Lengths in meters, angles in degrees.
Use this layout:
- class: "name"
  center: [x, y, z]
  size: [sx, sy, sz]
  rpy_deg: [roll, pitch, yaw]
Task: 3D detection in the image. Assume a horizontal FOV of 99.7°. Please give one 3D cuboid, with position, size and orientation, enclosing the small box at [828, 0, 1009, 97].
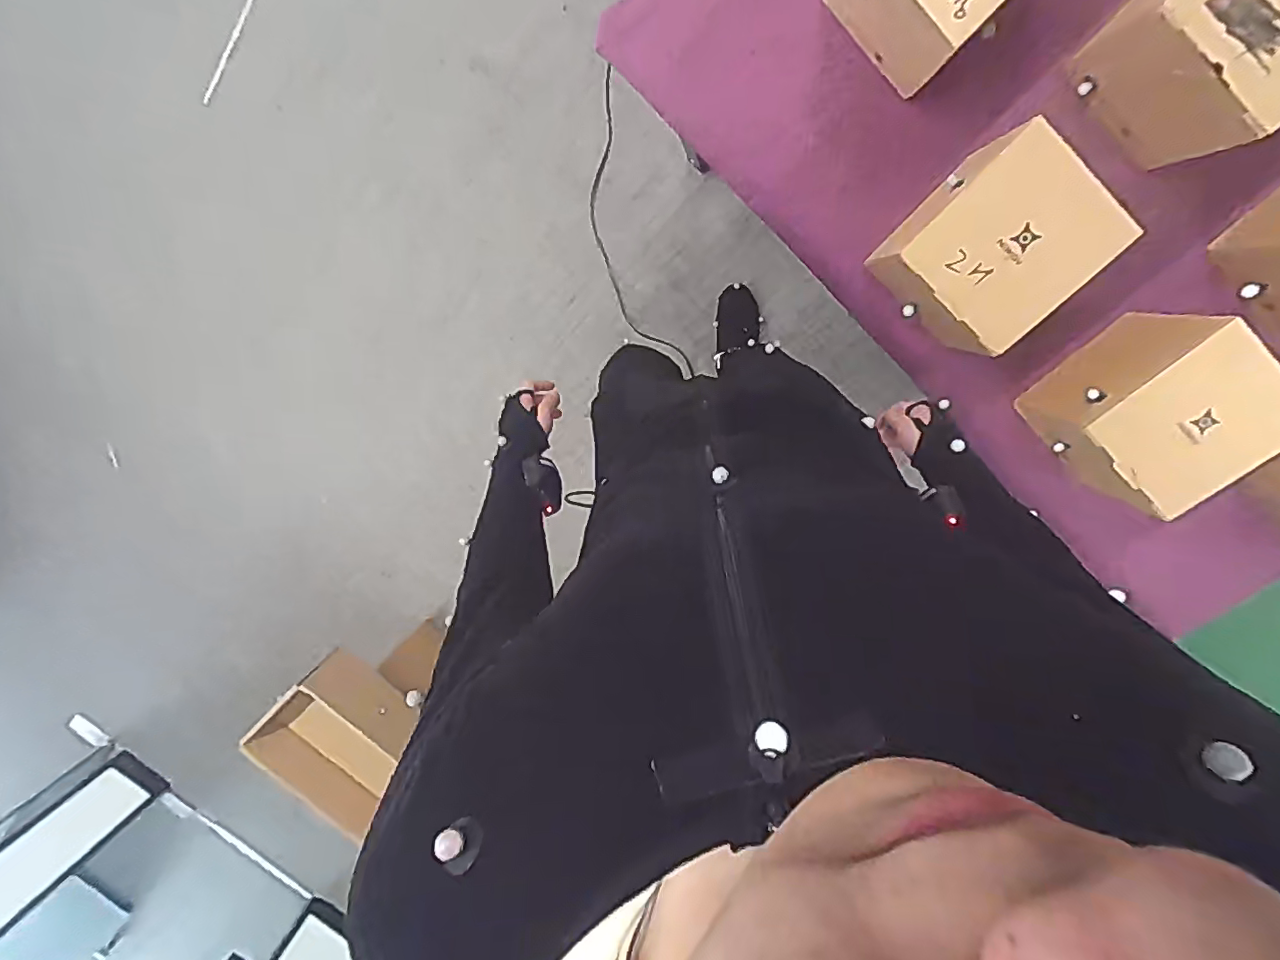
- class: "small box"
  center: [0.323, -0.560, 0.565]
  size: [0.168, 0.176, 0.179]
  rpy_deg: [45, 110, -6]

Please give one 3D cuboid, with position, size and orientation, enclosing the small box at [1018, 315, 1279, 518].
- class: "small box"
  center: [0.638, -0.090, 0.683]
  size: [0.168, 0.176, 0.179]
  rpy_deg: [43, 111, -7]

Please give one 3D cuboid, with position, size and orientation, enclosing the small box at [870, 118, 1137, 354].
- class: "small box"
  center: [0.412, -0.279, 0.652]
  size: [0.168, 0.176, 0.179]
  rpy_deg: [43, 110, -6]

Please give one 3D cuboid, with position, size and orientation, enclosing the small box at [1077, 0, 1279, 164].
- class: "small box"
  center: [0.604, -0.465, 0.553]
  size: [0.168, 0.176, 0.179]
  rpy_deg: [43, 110, -7]

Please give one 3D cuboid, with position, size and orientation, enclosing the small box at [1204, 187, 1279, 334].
- class: "small box"
  center: [0.808, -0.269, 0.590]
  size: [0.168, 0.176, 0.179]
  rpy_deg: [43, 112, -5]
